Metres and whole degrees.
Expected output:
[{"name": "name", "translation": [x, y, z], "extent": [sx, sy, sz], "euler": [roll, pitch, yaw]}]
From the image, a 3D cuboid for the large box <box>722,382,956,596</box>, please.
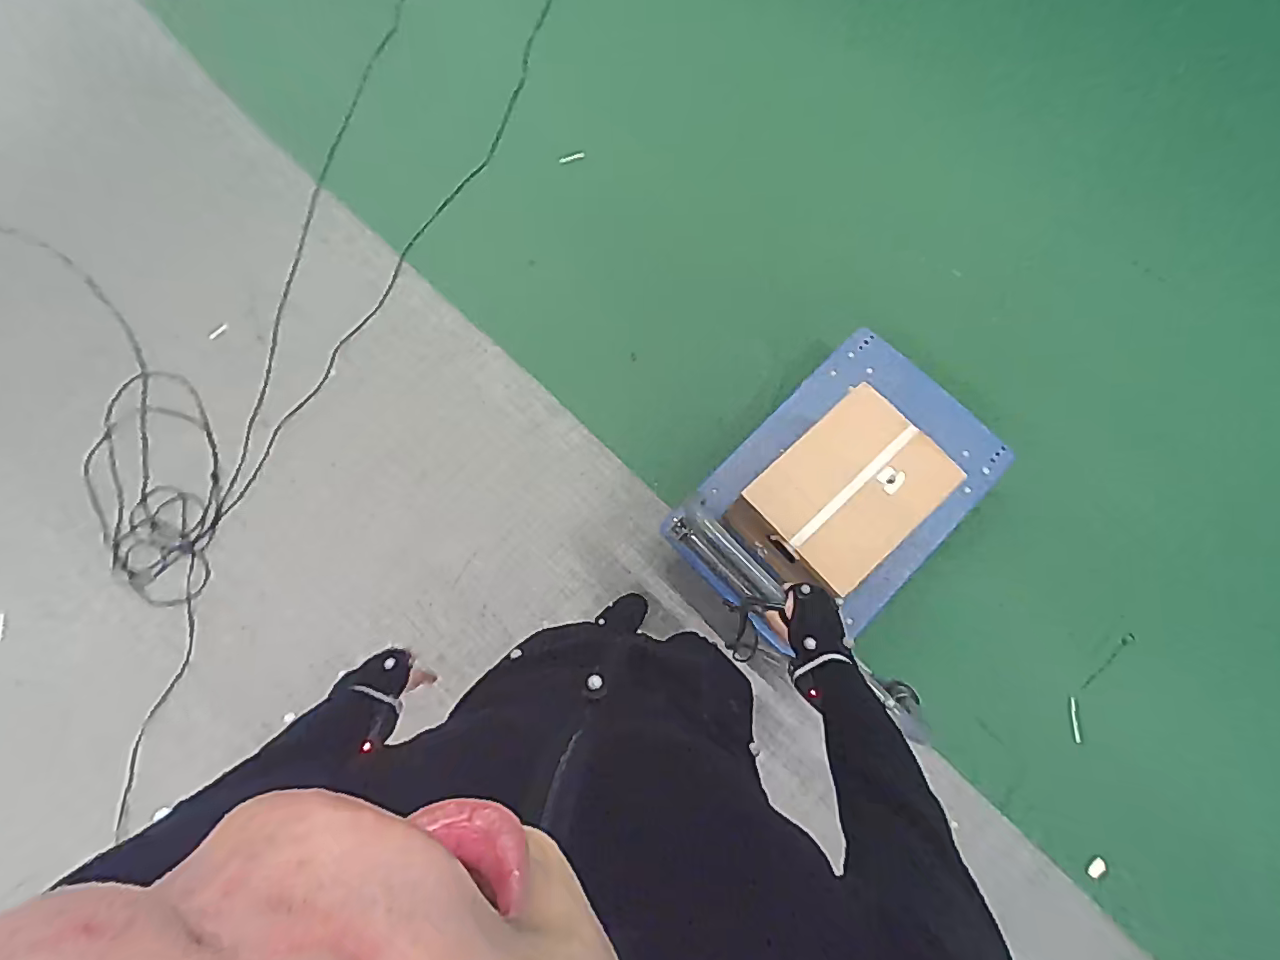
[{"name": "large box", "translation": [0.466, 0.042, 1.352], "extent": [0.408, 0.320, 0.320], "euler": [-41, 81, -8]}]
